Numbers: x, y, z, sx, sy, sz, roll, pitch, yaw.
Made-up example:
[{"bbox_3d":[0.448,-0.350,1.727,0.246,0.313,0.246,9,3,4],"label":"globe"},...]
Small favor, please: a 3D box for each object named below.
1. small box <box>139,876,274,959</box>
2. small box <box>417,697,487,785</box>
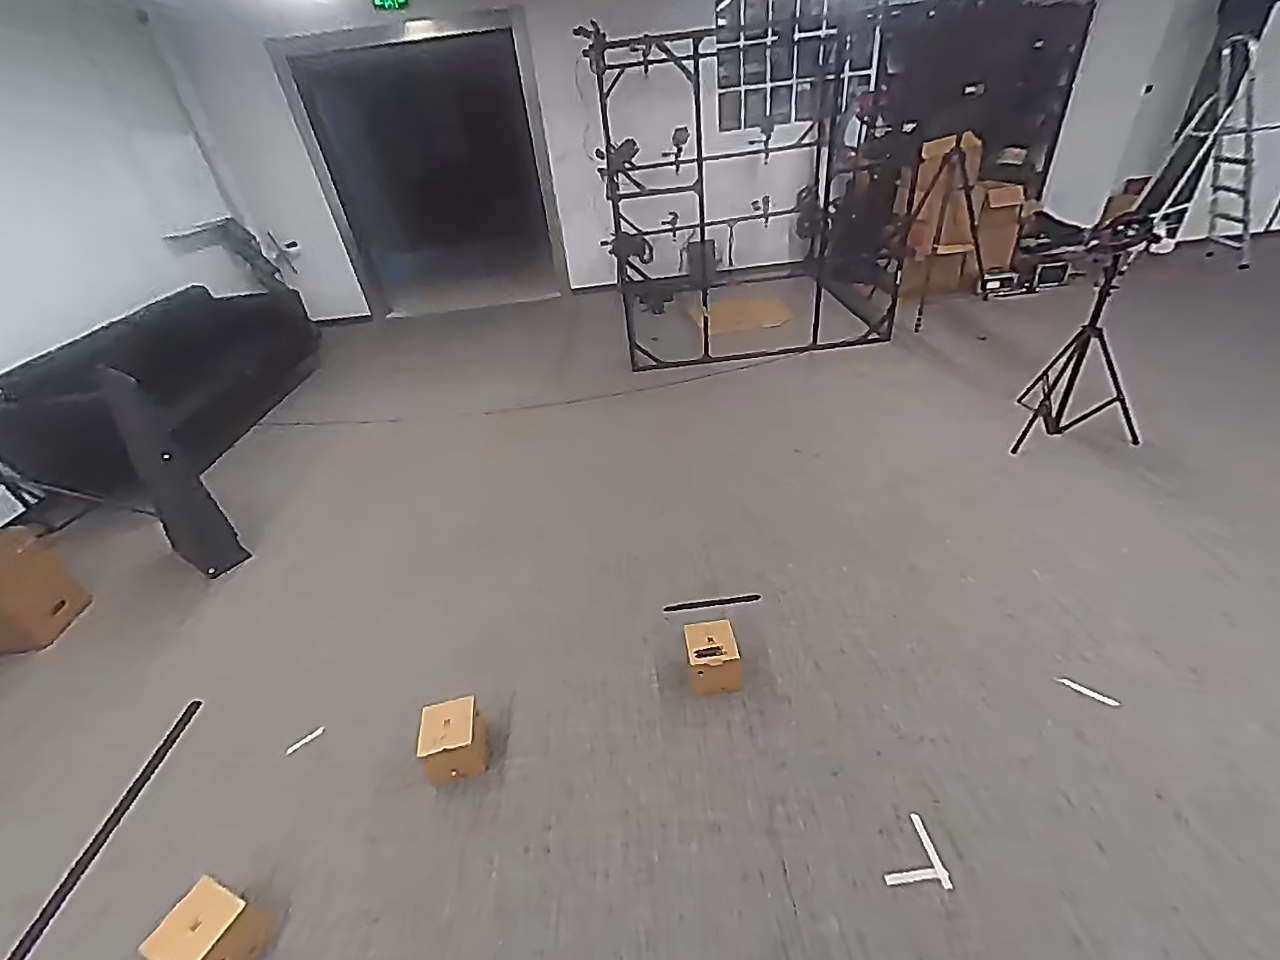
[{"bbox_3d":[-1.072,1.147,1.353,0.179,0.176,0.168,9,37,23],"label":"small box"},{"bbox_3d":[-0.594,0.833,1.729,0.168,0.176,0.179,-11,34,-7],"label":"small box"}]
